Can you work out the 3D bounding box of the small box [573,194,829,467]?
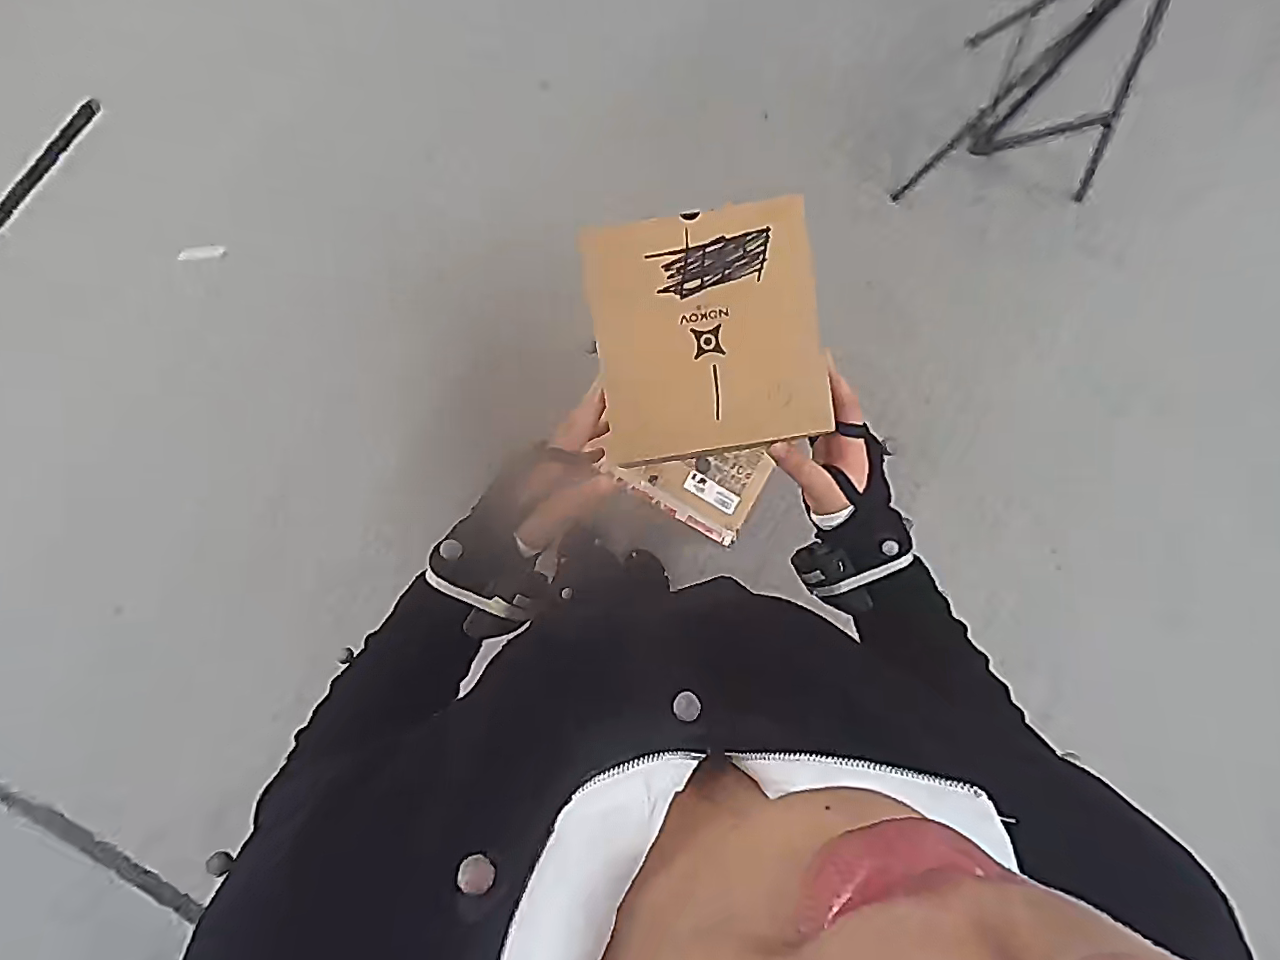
[{"bbox_3d":[0.044,-0.110,0.472,0.168,0.176,0.179,-10,91,1],"label":"small box"}]
